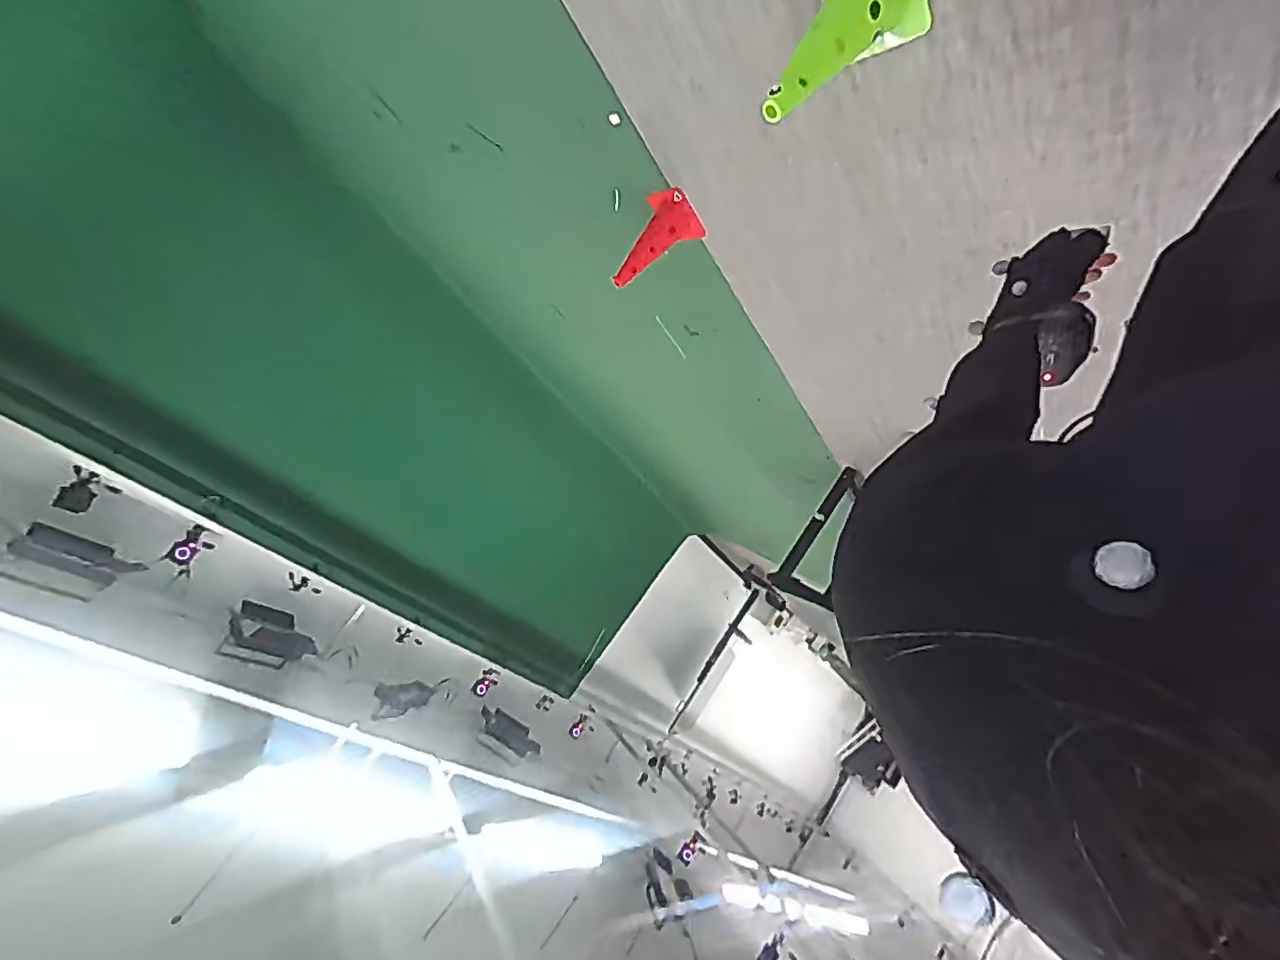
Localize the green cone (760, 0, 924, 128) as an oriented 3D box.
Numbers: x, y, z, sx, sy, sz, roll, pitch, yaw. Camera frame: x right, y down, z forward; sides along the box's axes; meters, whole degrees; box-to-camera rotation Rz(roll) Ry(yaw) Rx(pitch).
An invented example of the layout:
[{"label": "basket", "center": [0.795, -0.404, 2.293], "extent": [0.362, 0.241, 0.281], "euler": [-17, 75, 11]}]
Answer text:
[{"label": "green cone", "center": [0.338, -0.799, 1.026], "extent": [0.200, 0.368, 0.202], "euler": [44, 166, -35]}]
